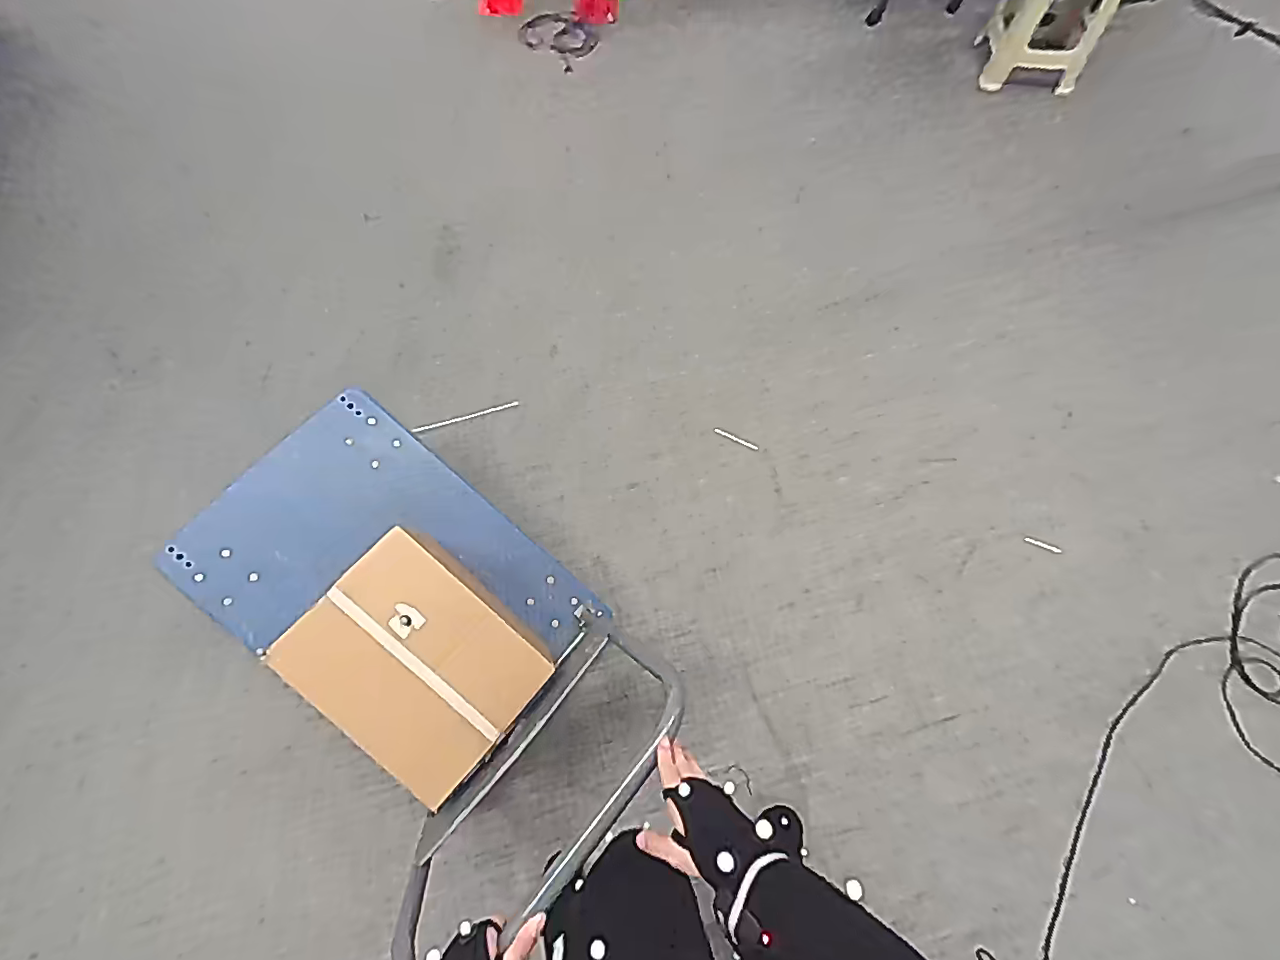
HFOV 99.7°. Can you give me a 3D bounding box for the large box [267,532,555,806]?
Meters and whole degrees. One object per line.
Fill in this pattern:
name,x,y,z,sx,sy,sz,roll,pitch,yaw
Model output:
large box,-0.427,0.360,1.117,0.408,0.320,0.320,42,74,-1
